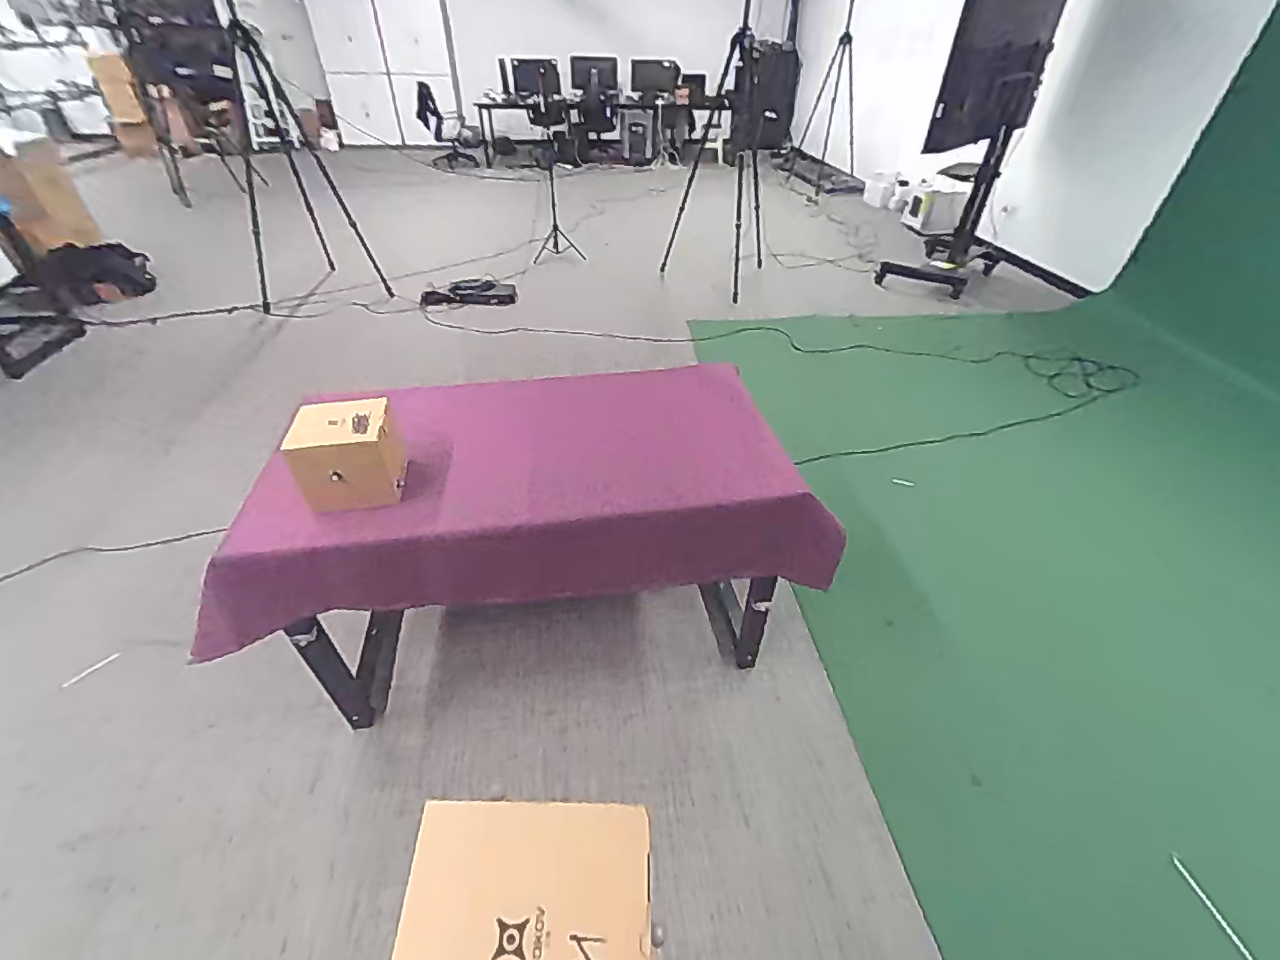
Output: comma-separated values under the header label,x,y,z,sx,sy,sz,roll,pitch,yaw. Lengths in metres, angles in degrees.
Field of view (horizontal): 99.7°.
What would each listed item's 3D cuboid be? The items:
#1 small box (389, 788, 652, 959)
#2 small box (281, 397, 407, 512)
label,x,y,z,sx,sy,sz,roll,pitch,yaw
small box,-0.081,0.355,0.433,0.179,0.176,0.168,2,54,0
small box,-0.606,-0.053,1.138,0.179,0.176,0.168,-8,40,-9
